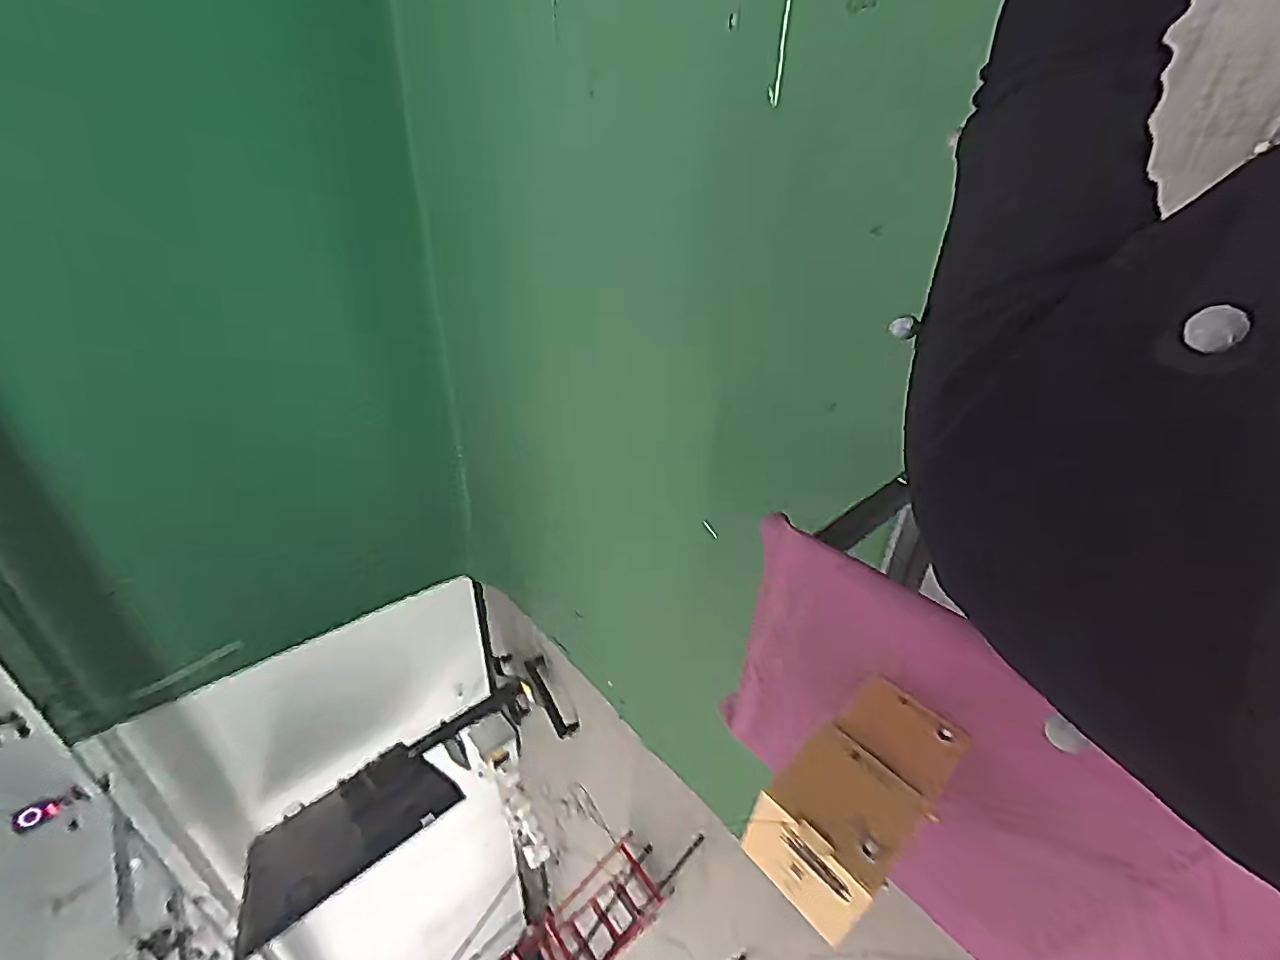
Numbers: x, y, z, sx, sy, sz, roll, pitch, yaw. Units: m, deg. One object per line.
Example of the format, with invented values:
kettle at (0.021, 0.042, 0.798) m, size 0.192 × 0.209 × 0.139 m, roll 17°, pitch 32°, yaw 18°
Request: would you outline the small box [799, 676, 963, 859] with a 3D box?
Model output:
small box at (0.399, 0.465, 0.897) m, size 0.168 × 0.176 × 0.179 m, roll 37°, pitch 134°, yaw 36°
